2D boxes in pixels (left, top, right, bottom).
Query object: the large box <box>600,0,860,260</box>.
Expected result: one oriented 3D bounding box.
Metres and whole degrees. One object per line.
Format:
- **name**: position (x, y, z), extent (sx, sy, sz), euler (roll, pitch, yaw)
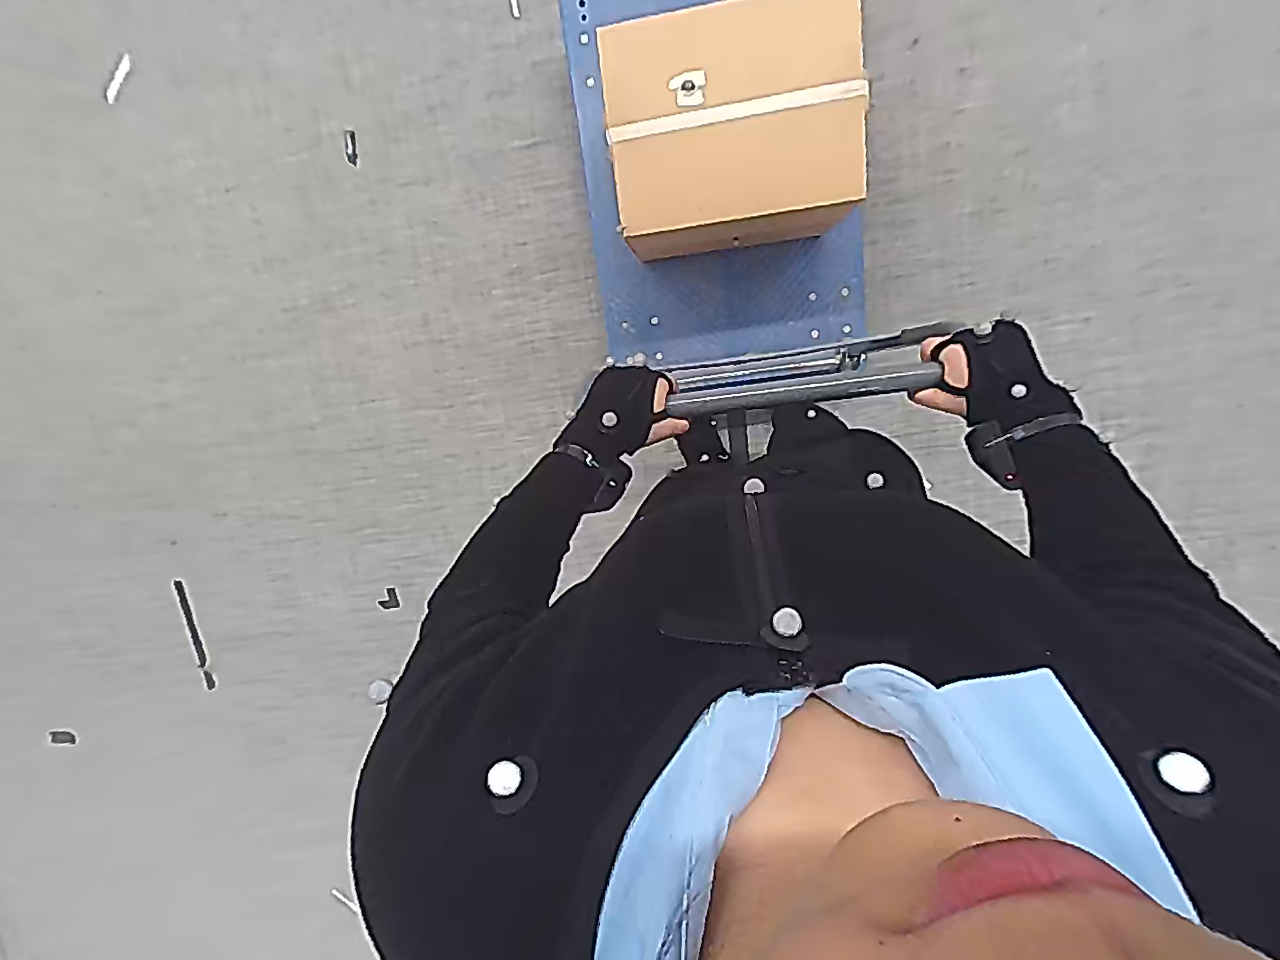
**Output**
- **large box**: position (0.168, -0.630, 1.030), extent (0.408, 0.320, 0.320), euler (-6, 103, 9)
